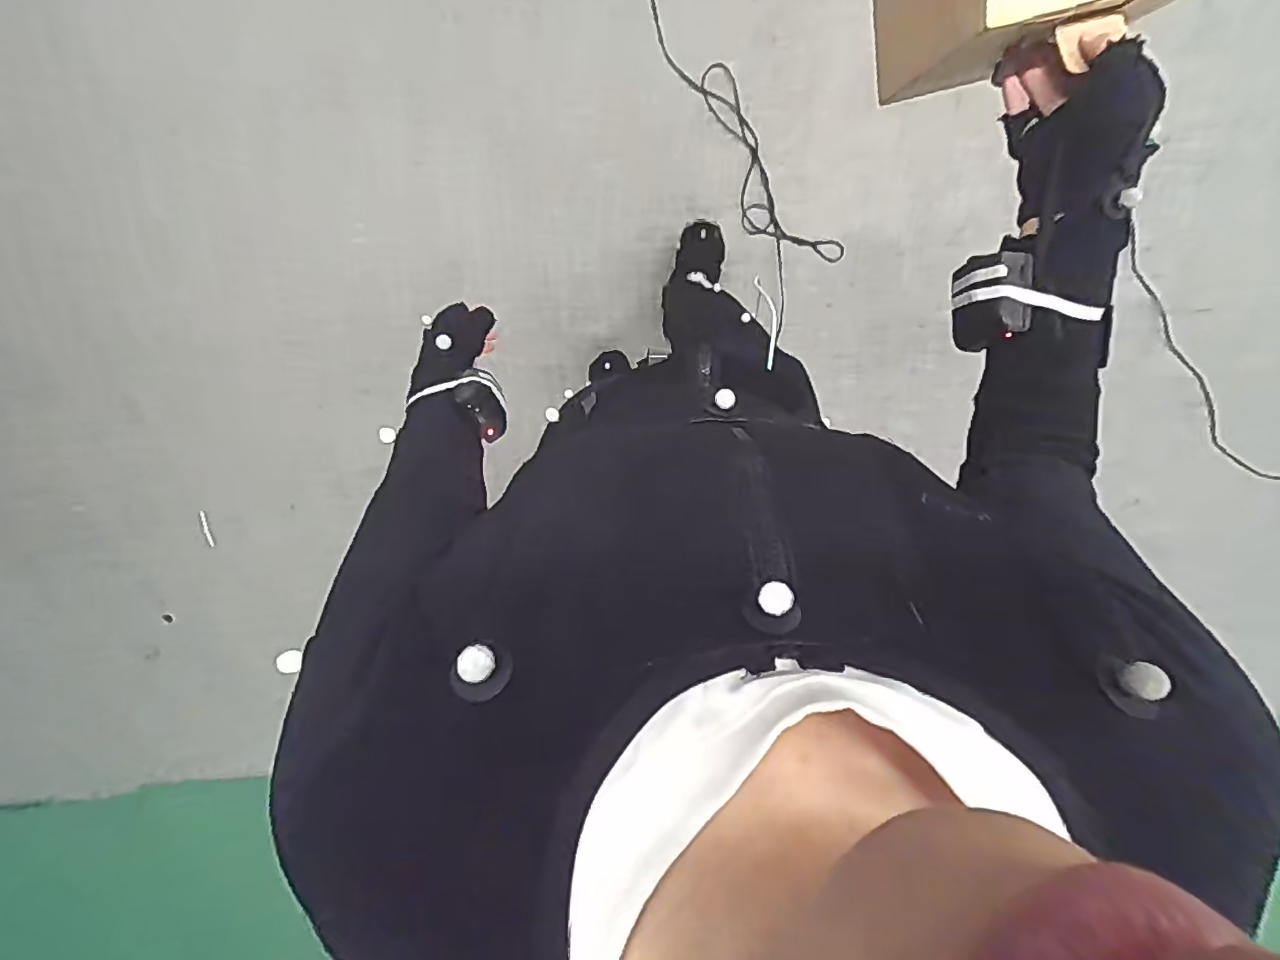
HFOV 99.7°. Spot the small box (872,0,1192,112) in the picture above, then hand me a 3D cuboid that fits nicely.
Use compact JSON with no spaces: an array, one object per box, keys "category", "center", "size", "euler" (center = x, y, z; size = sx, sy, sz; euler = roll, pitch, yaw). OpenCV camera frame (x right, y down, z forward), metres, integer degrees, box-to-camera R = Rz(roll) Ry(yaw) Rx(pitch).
[{"category":"small box","center":[0.290,-0.420,0.413],"size":[0.168,0.176,0.179],"euler":[-11,110,4]}]
